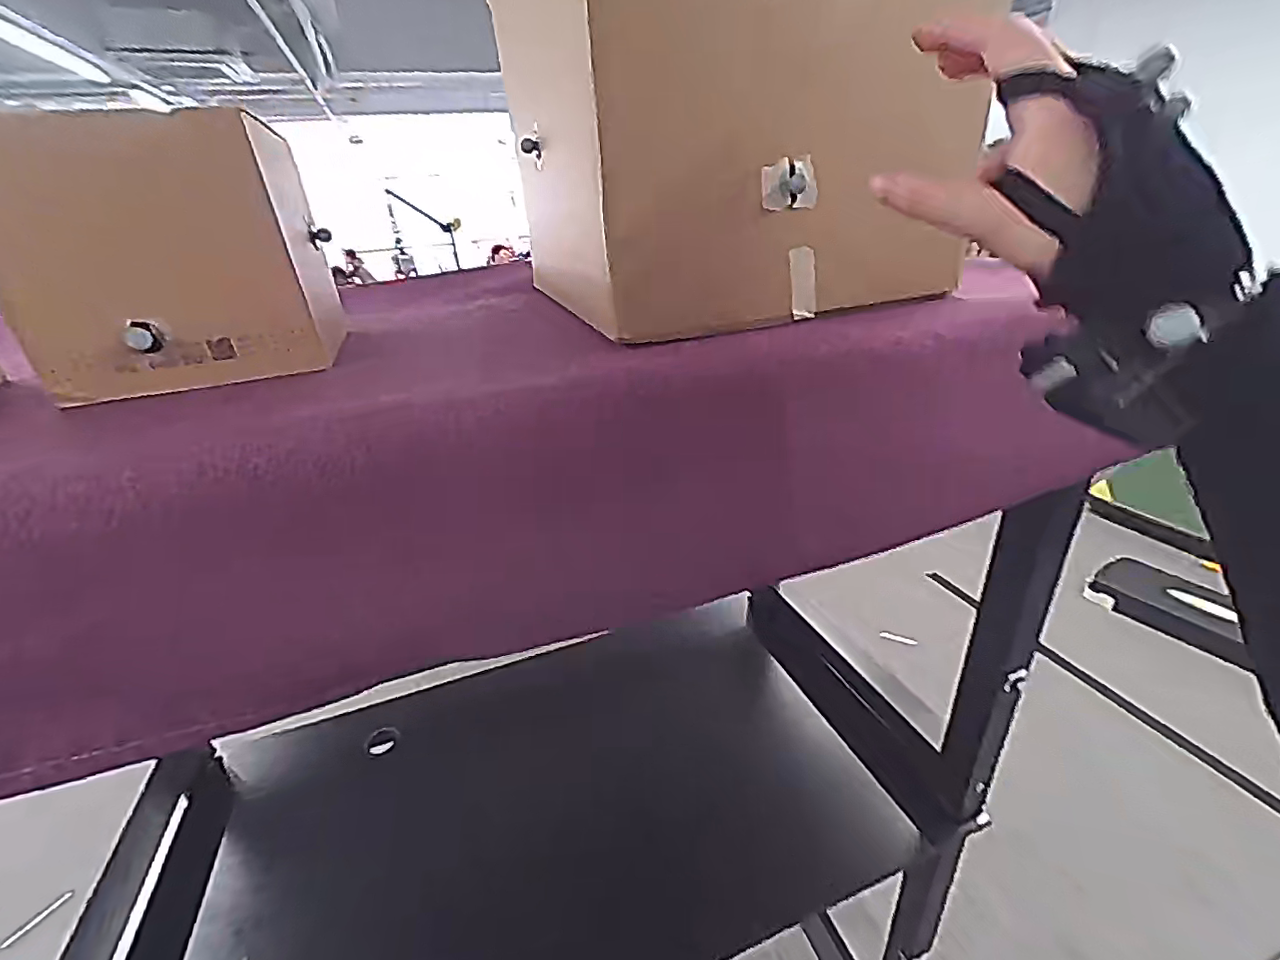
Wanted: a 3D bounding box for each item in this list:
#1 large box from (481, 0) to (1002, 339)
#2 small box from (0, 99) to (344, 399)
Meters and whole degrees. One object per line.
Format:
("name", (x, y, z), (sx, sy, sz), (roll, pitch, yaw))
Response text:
("large box", (0.051, -0.338, 0.519), (0.320, 0.320, 0.408), (-12, 27, -15))
("small box", (-0.344, -0.172, 0.411), (0.168, 0.176, 0.179), (-15, 29, -17))
